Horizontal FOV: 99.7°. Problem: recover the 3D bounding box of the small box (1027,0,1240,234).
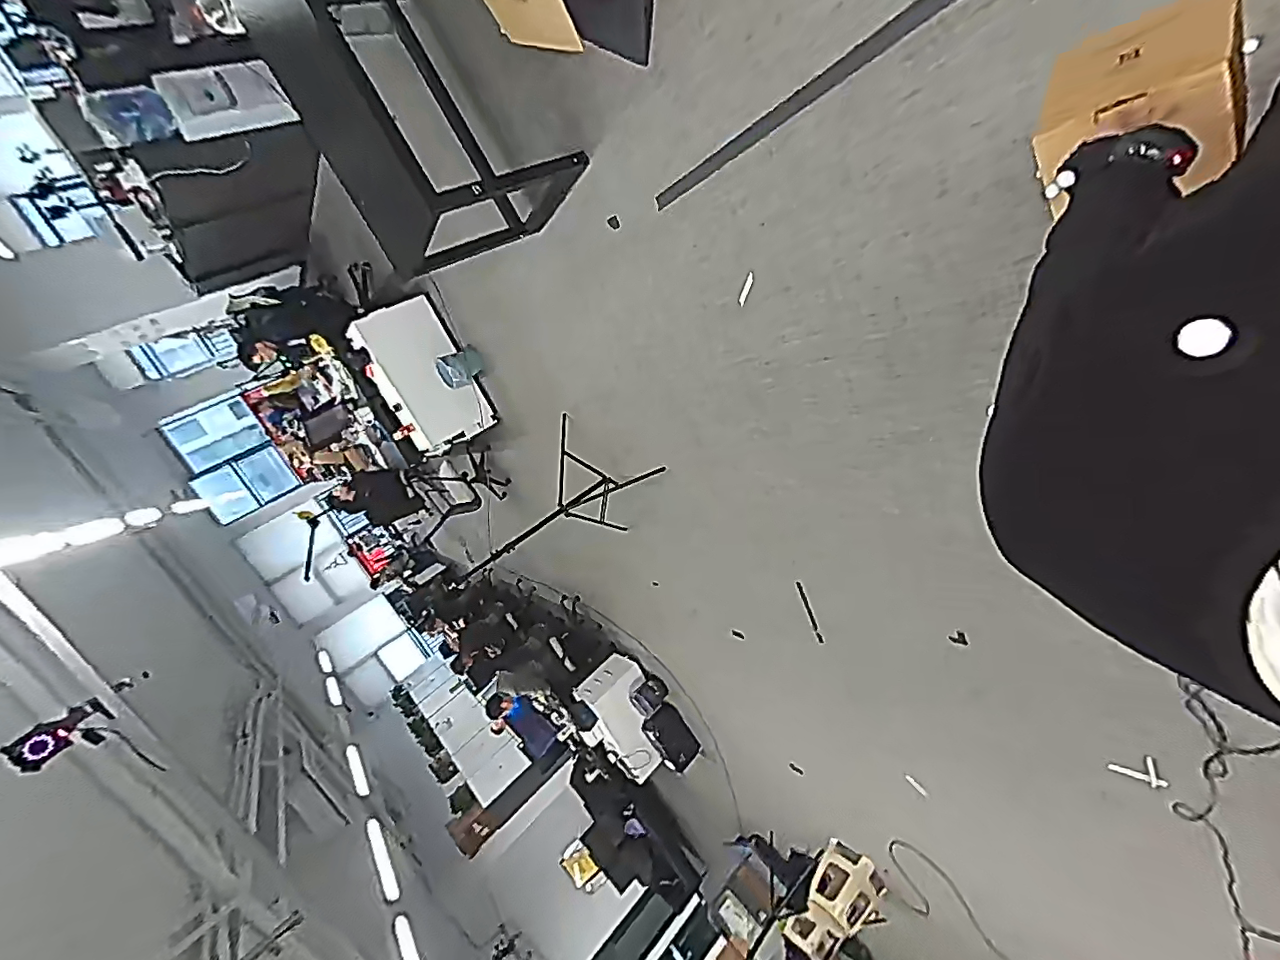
[{"bbox_3d":[0.613,-0.436,0.669,0.176,0.179,0.168,41,156,-32],"label":"small box"}]
